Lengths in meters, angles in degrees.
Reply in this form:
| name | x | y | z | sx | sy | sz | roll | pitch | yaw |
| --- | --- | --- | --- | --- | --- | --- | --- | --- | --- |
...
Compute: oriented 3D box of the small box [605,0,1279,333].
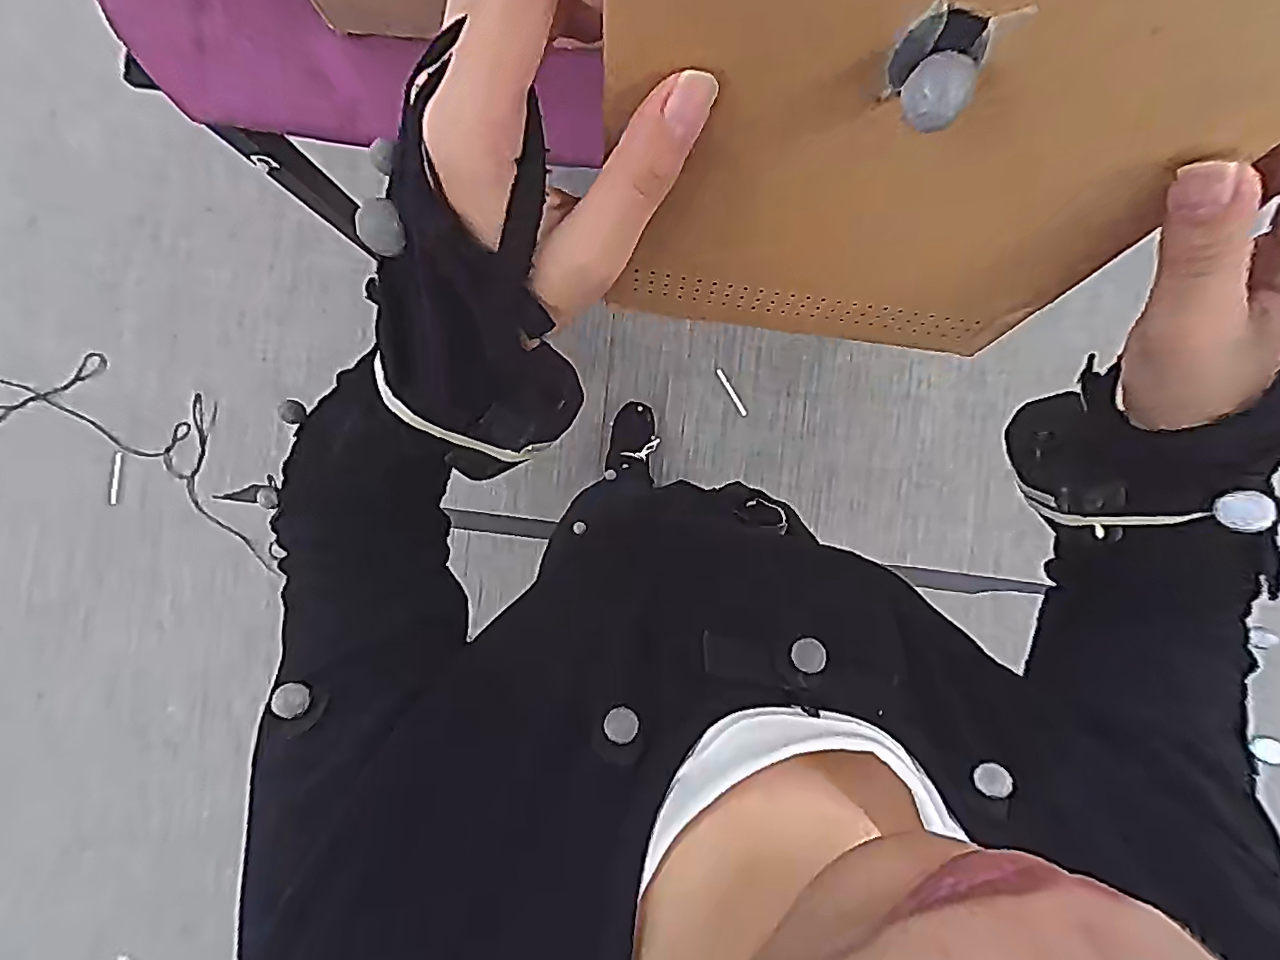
| name | x | y | z | sx | sy | sz | roll | pitch | yaw |
| --- | --- | --- | --- | --- | --- | --- | --- | --- | --- |
| small box | 0.086 | -0.167 | 0.182 | 0.179 | 0.176 | 0.168 | 7 | 77 | -1 |
